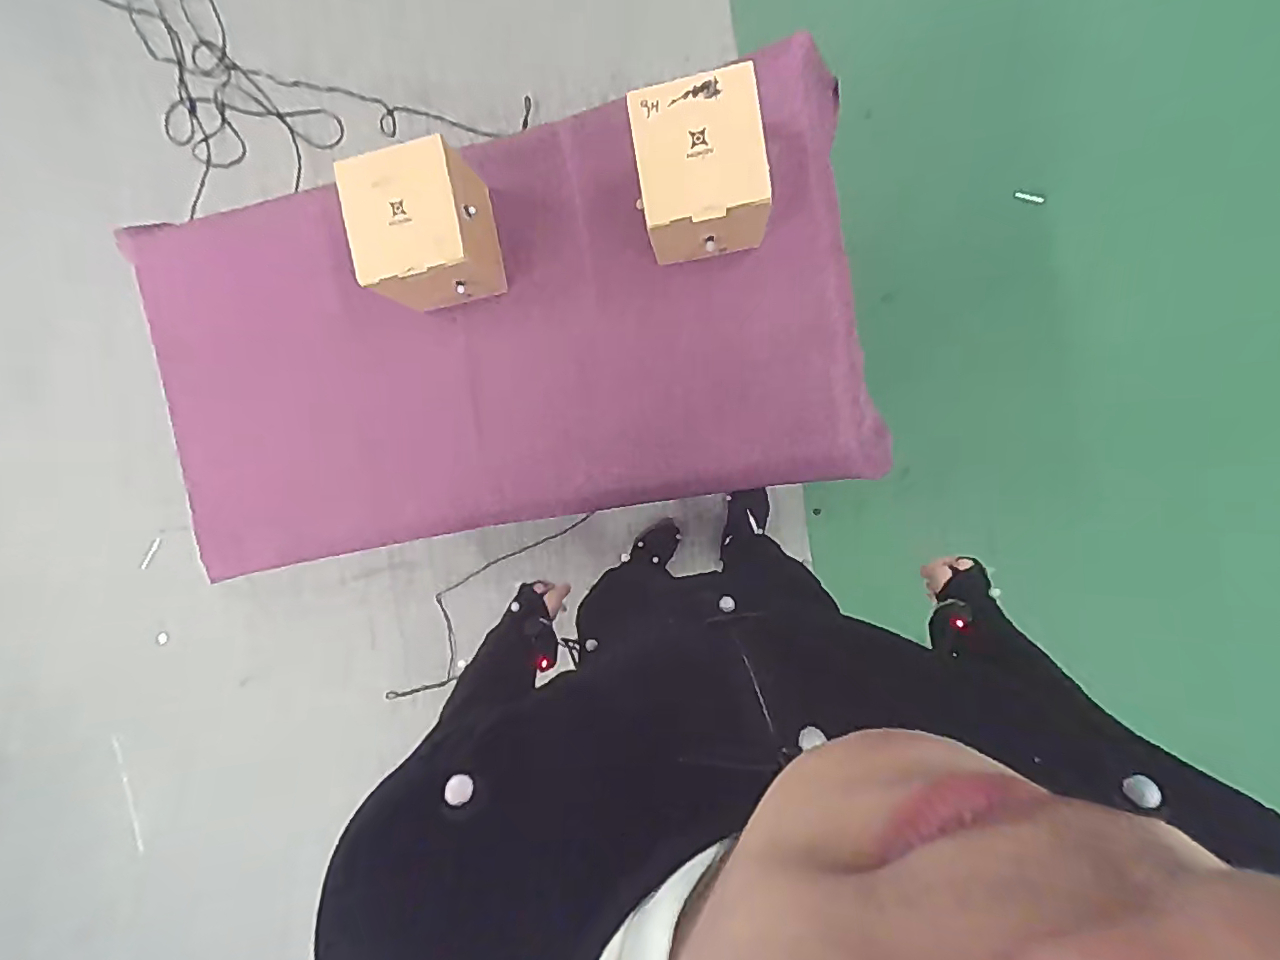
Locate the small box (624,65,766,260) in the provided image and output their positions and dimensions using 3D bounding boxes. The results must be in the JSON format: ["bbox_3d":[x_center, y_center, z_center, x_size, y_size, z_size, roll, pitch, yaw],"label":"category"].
[{"bbox_3d":[0.083,-0.431,0.773,0.168,0.176,0.179,-9,94,9],"label":"small box"}]

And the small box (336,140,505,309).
[{"bbox_3d":[-0.325,-0.376,0.835,0.168,0.176,0.179,-10,93,8],"label":"small box"}]
